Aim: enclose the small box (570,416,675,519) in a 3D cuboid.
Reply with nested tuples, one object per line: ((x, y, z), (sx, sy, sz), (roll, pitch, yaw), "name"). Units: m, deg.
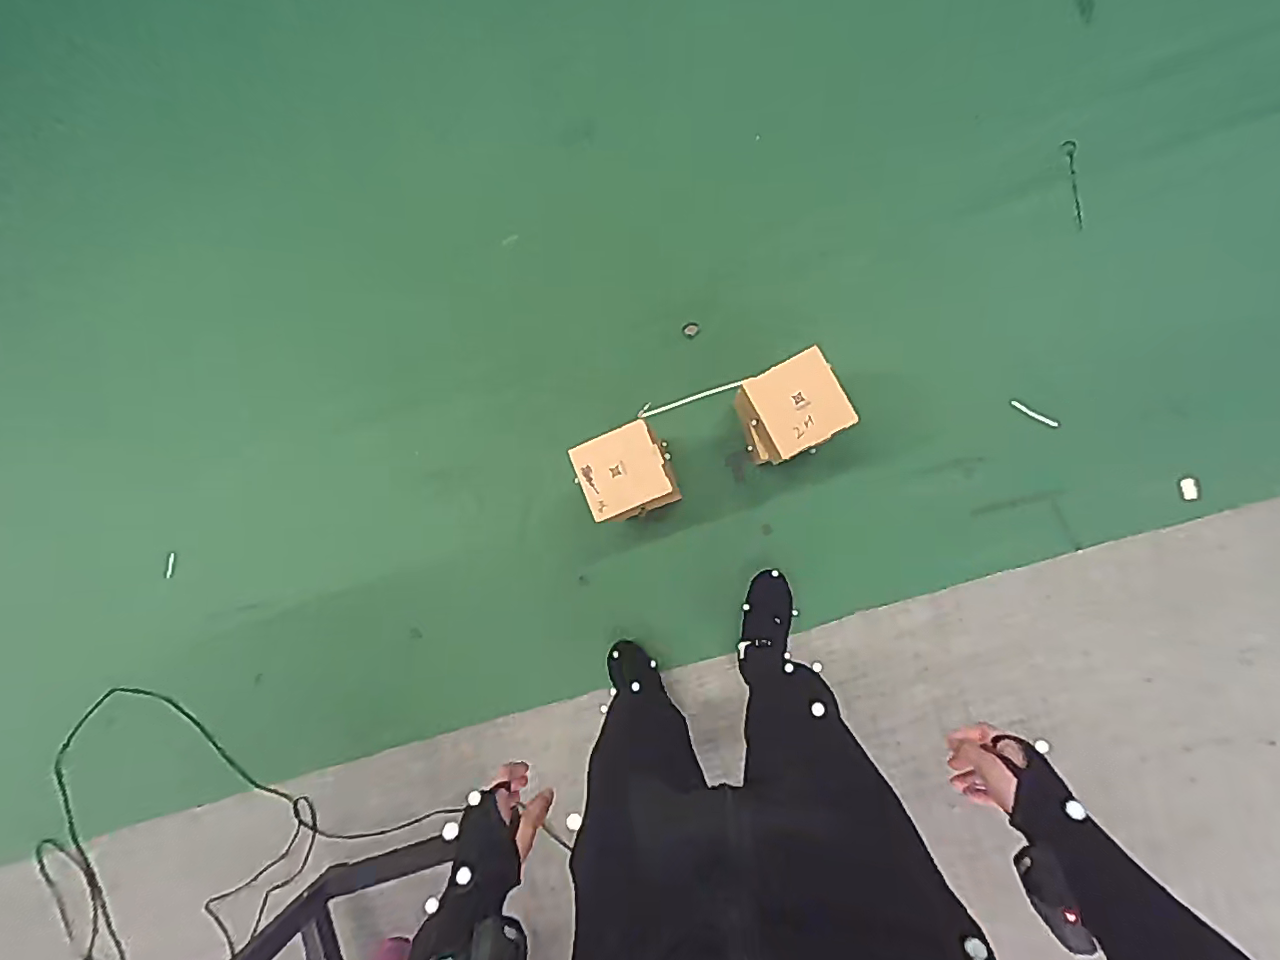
((-0.029, -0.023, 1.186), (0.179, 0.176, 0.168), (-23, 84, 7), "small box")

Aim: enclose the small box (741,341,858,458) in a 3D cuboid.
((0.324, -0.160, 1.138), (0.168, 0.176, 0.179), (-28, 86, 7), "small box")

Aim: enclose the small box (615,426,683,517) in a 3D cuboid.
((0.000, -0.018, 1.348), (0.168, 0.176, 0.179), (-20, 84, 8), "small box")
